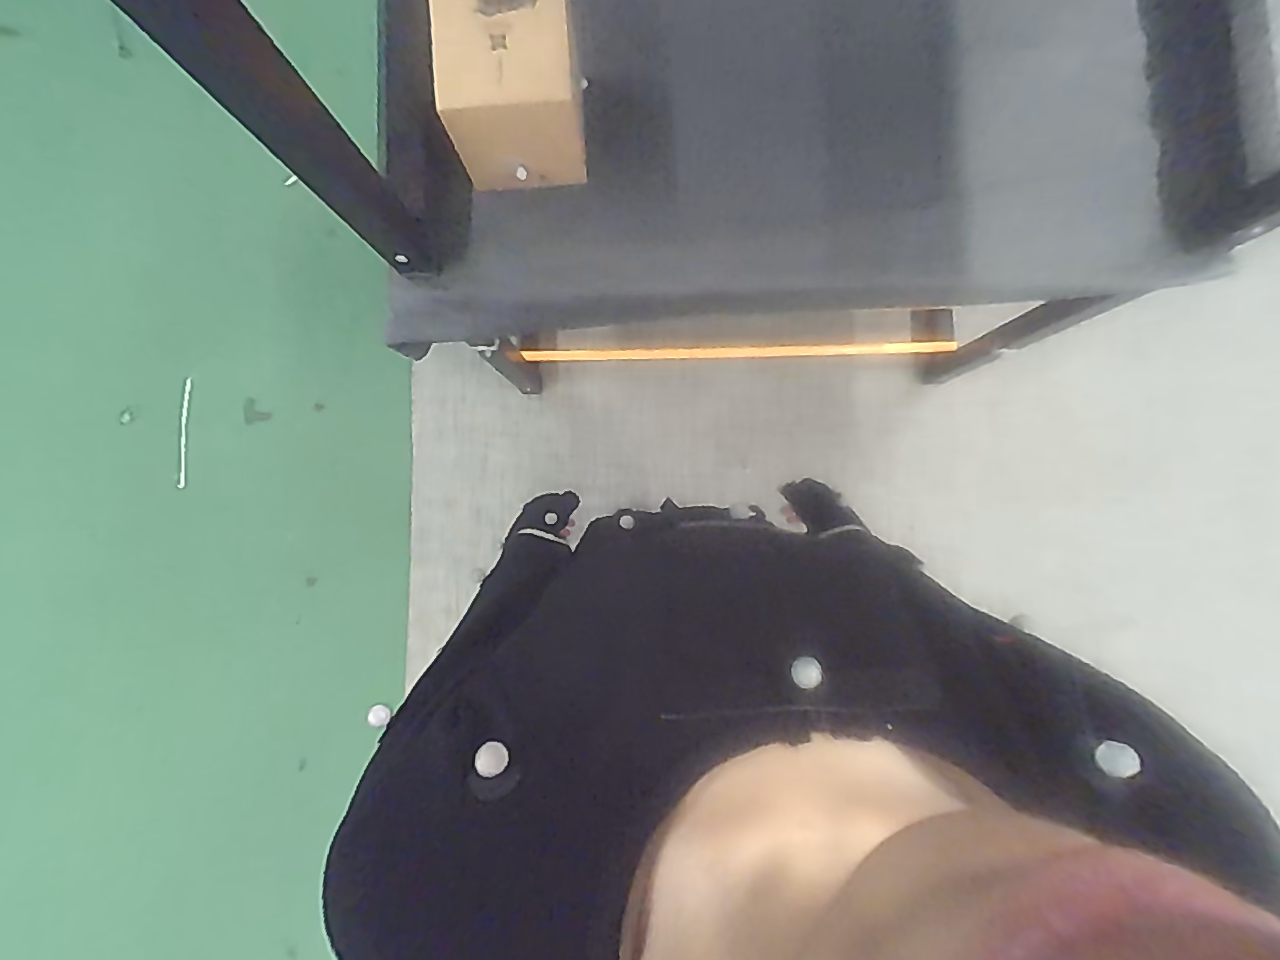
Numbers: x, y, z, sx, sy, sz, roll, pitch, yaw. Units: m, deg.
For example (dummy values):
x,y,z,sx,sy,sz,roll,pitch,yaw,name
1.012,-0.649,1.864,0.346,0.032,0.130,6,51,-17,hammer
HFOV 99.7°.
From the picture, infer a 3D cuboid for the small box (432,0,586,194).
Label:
x,y,z,sx,sy,sz,roll,pitch,yaw,name
-0.166,-0.521,0.729,0.168,0.176,0.179,-4,86,1,small box
